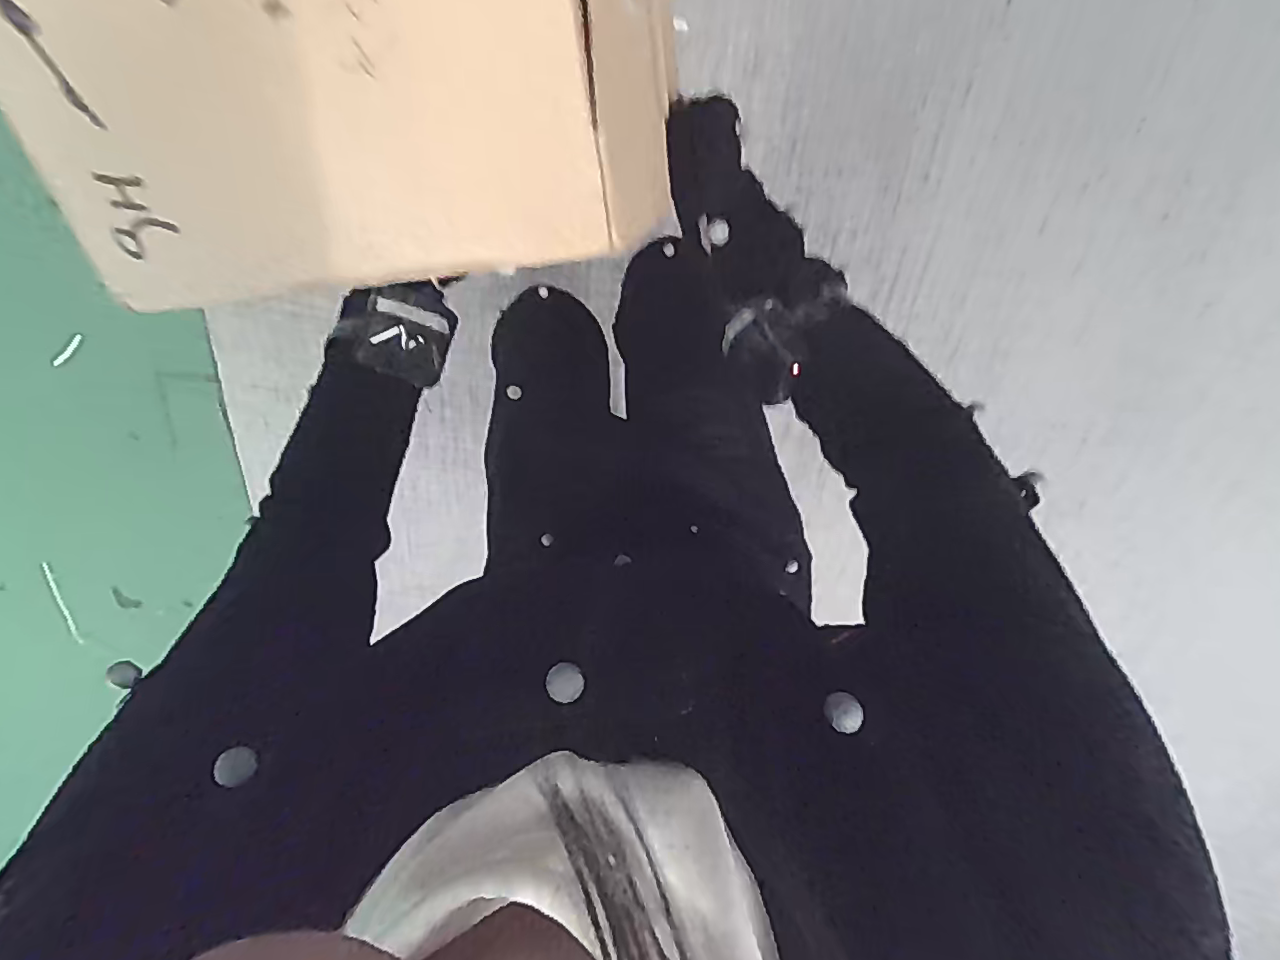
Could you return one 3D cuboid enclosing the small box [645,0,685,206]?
[{"bbox_3d":[-0.058,-0.334,0.491,0.179,0.176,0.168,-3,120,10],"label":"small box"}]

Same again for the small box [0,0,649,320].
[{"bbox_3d":[-0.093,-0.167,0.195,0.179,0.176,0.168,-3,119,10],"label":"small box"}]
